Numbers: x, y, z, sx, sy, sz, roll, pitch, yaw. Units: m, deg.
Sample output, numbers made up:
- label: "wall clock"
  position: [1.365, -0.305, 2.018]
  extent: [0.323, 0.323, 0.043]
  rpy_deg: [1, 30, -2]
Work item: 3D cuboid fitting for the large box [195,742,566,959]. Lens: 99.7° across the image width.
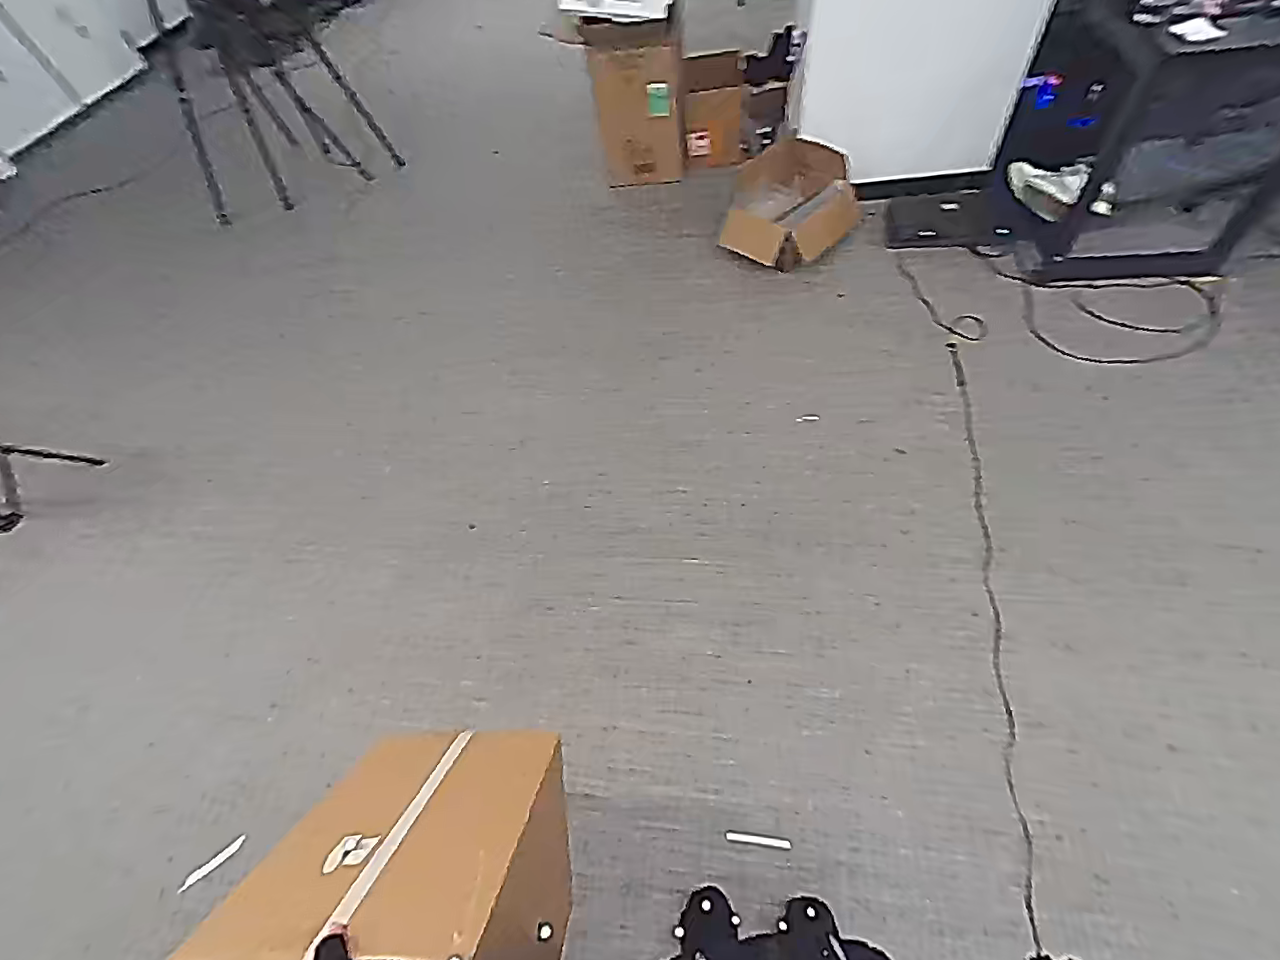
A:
- label: "large box"
  position: [-0.295, 0.620, 0.742]
  extent: [0.320, 0.408, 0.320]
  rpy_deg: [-4, 96, 4]
